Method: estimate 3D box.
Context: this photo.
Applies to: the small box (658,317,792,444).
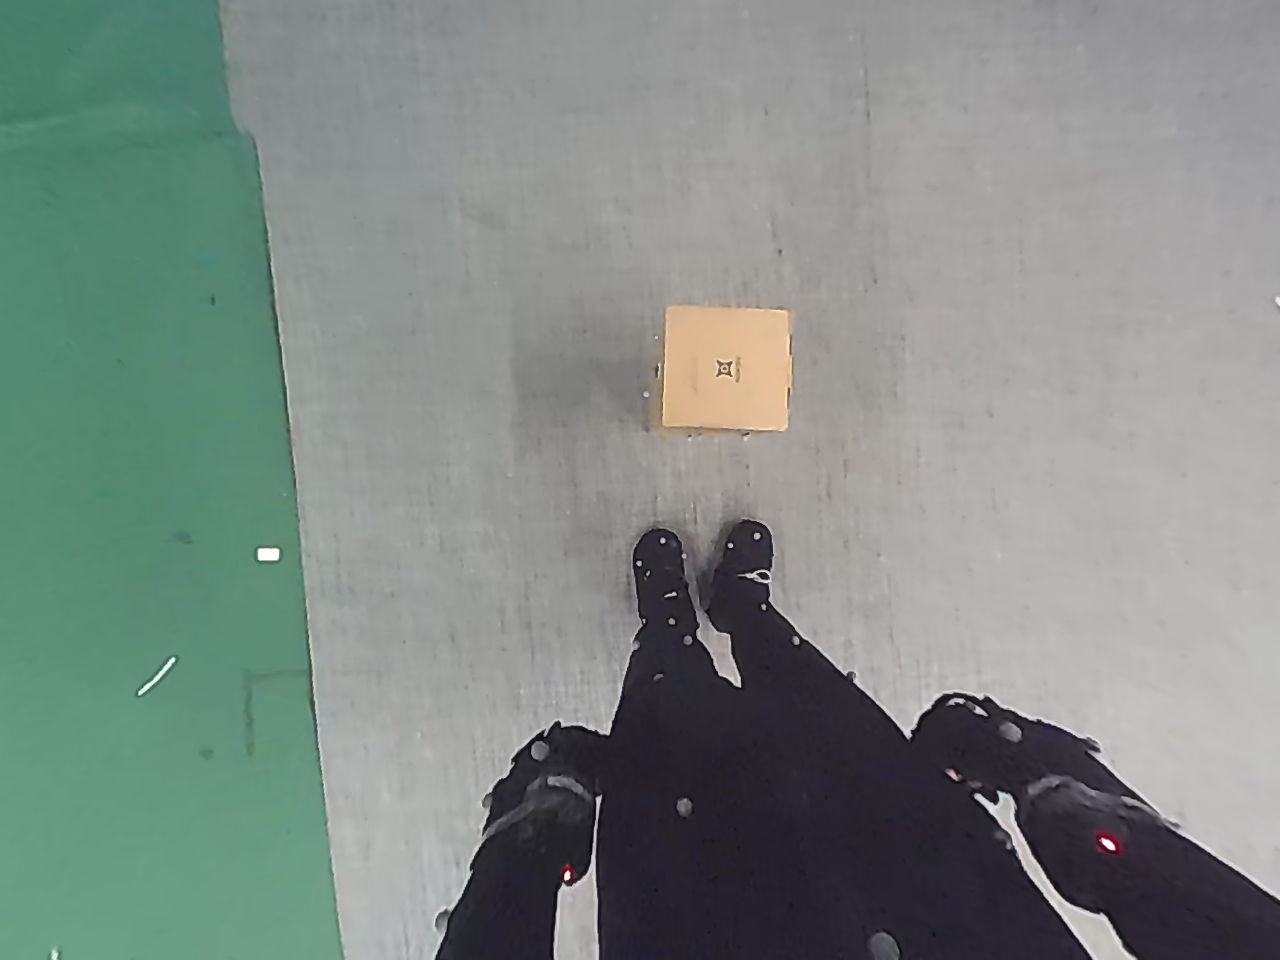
[{"bbox_3d":[0.119,-0.142,0.820,0.179,0.176,0.168,1,92,0],"label":"small box"}]
